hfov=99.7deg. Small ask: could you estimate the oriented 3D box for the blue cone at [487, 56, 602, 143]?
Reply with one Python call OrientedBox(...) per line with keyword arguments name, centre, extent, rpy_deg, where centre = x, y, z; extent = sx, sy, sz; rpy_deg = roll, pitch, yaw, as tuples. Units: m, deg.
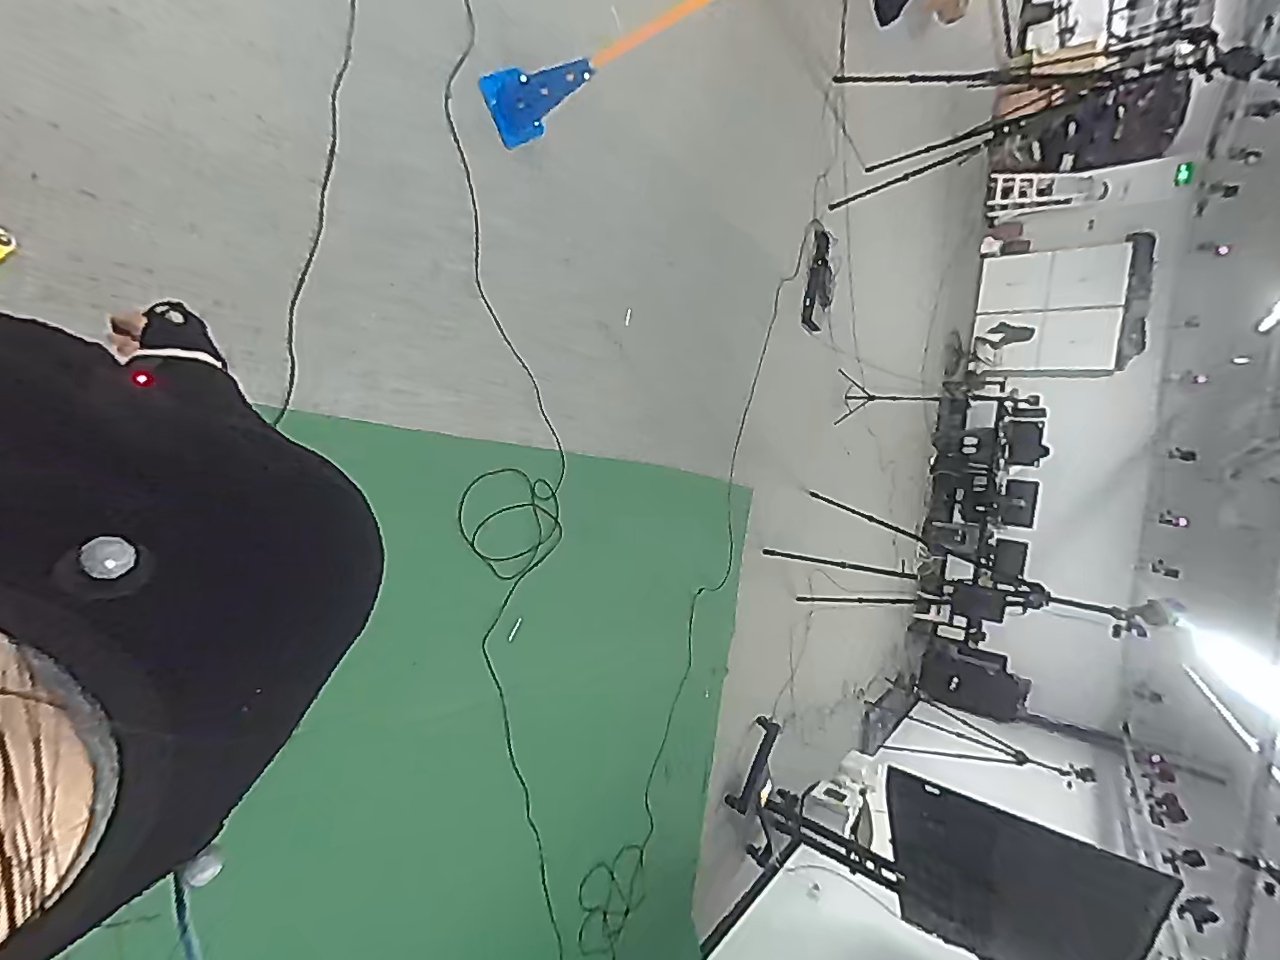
OrientedBox(name="blue cone", centre=(-0.270, -1.206, 1.645), extent=(0.193, 0.380, 0.192), rpy_deg=(-53, 133, -35))
